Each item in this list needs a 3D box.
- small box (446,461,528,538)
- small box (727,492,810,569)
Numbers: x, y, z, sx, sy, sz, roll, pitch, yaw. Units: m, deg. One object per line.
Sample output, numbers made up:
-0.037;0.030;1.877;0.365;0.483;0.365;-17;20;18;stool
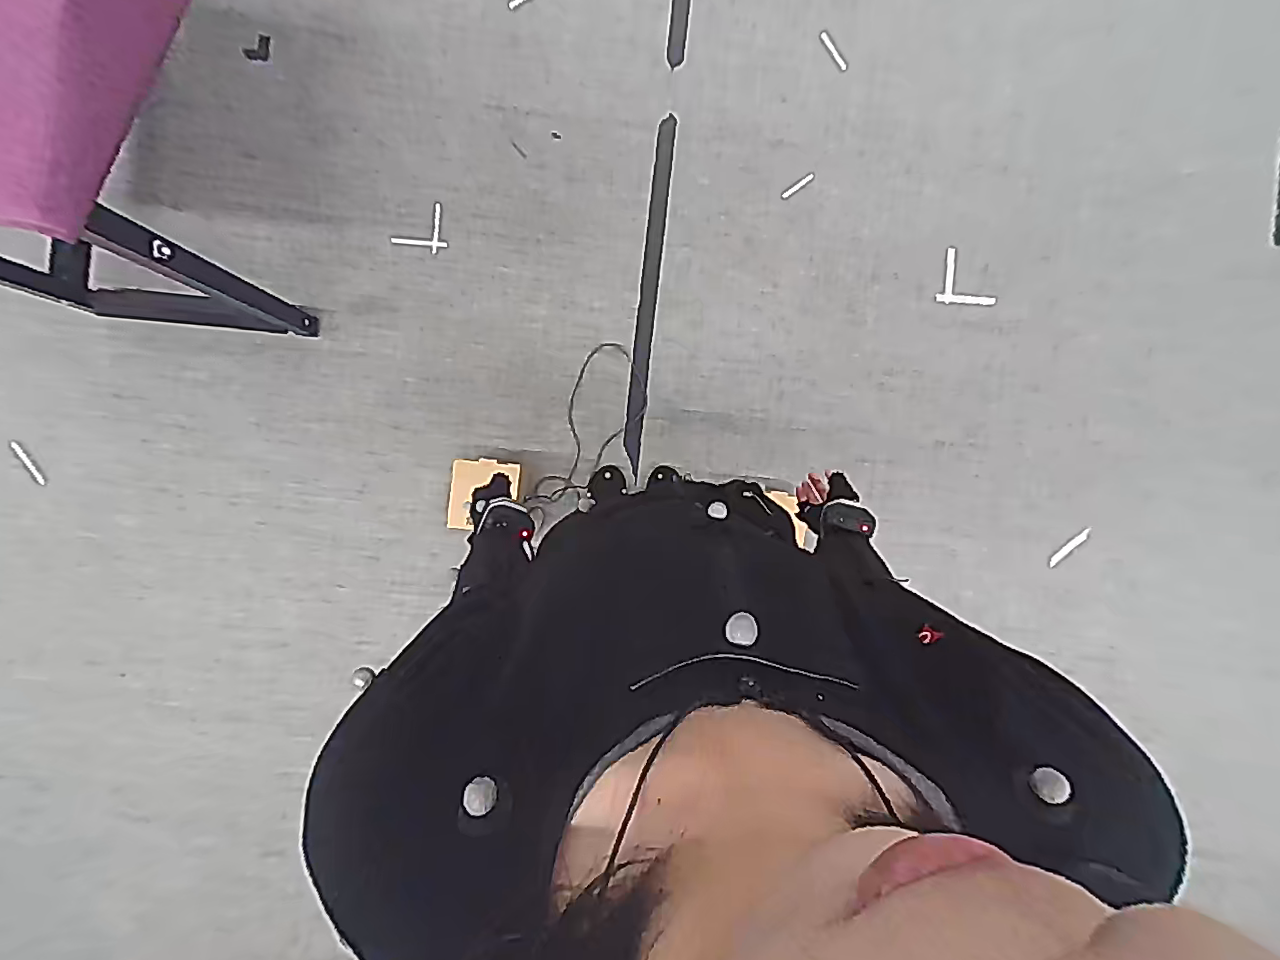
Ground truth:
-0.391;0.052;1.409;0.168;0.176;0.179;6;87;-3;small box
0.338;0.129;1.451;0.168;0.176;0.179;8;91;-2;small box
